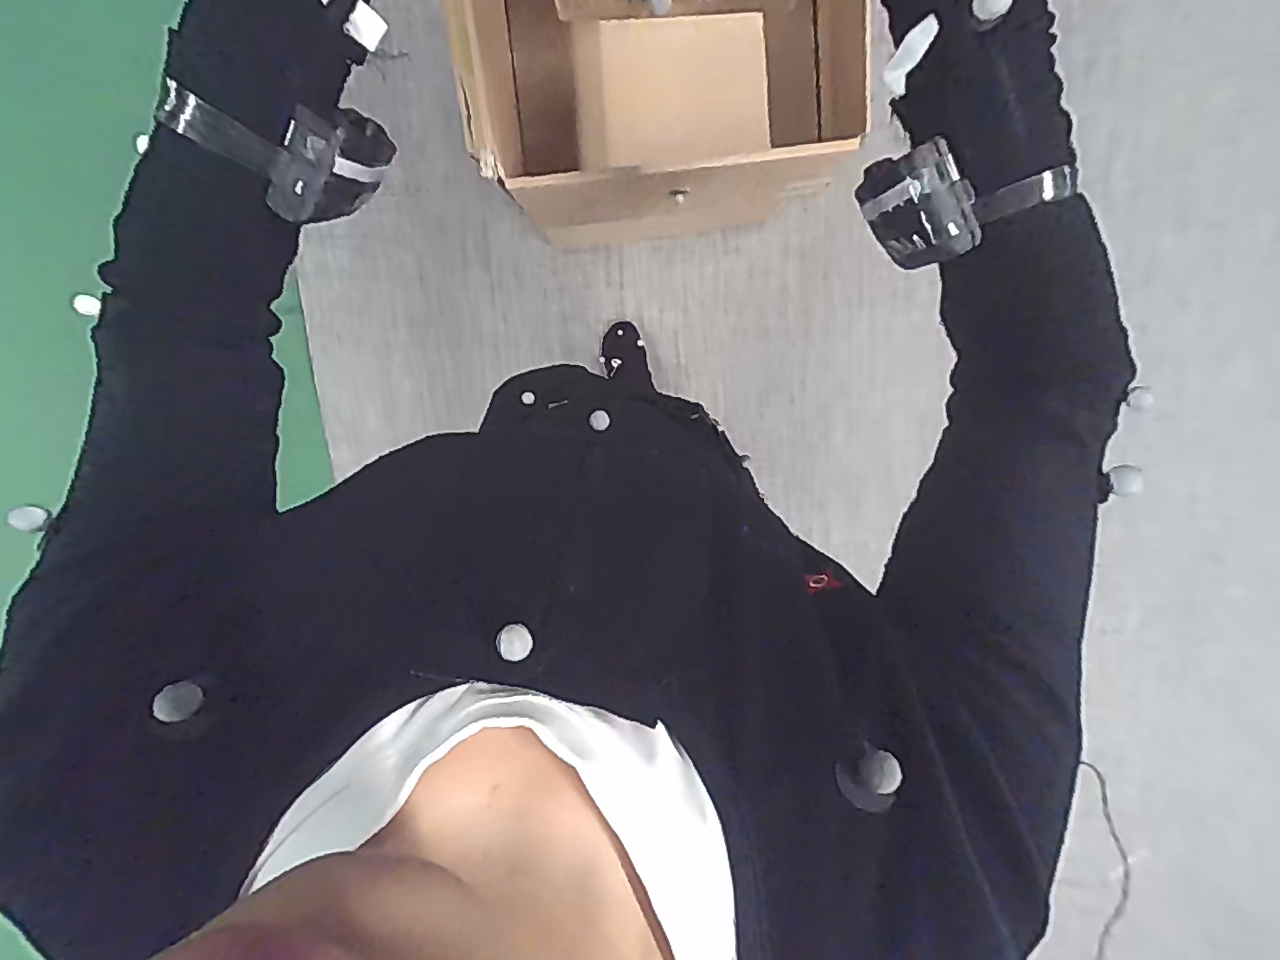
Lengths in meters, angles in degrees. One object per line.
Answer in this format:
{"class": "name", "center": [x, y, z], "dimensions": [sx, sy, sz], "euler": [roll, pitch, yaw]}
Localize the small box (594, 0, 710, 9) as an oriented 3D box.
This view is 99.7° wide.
{"class": "small box", "center": [0.009, -0.630, 0.554], "dimensions": [0.168, 0.176, 0.179], "euler": [-6, 101, 2]}
